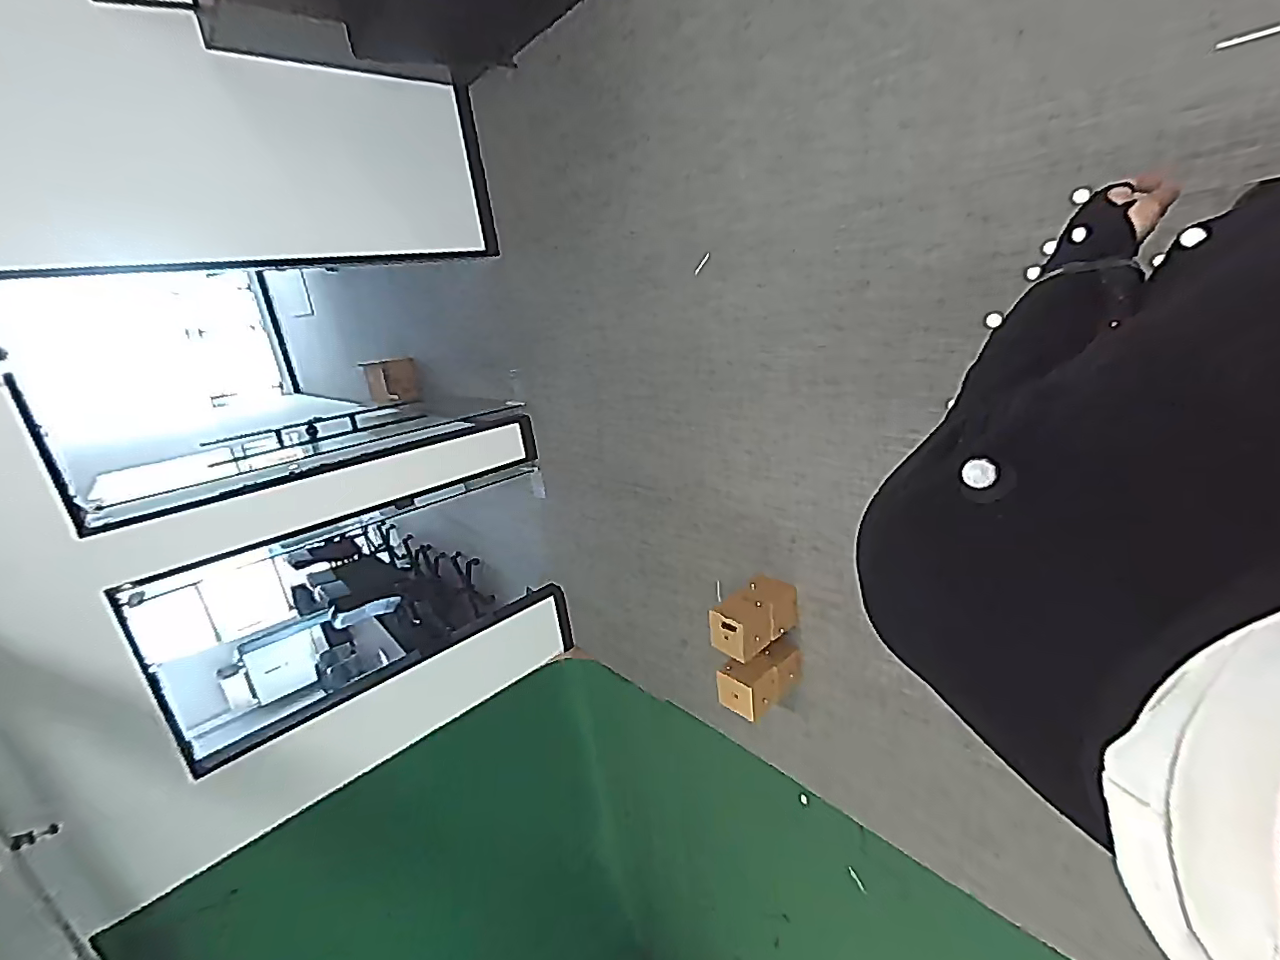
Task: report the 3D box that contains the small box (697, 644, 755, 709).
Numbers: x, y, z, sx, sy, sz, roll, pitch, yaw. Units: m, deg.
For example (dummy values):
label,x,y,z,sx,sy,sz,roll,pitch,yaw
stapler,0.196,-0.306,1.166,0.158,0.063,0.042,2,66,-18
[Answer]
label,x,y,z,sx,sy,sz,roll,pitch,yaw
small box,0.358,0.784,2.201,0.179,0.176,0.168,14,118,46

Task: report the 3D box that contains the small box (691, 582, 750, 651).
label,x,y,z,sx,sy,sz,roll,pitch,yaw
small box,0.318,0.528,2.120,0.168,0.176,0.179,19,122,44

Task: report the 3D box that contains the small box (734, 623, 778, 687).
label,x,y,z,sx,sy,sz,roll,pitch,yaw
small box,0.474,0.736,2.303,0.179,0.176,0.168,17,119,44
